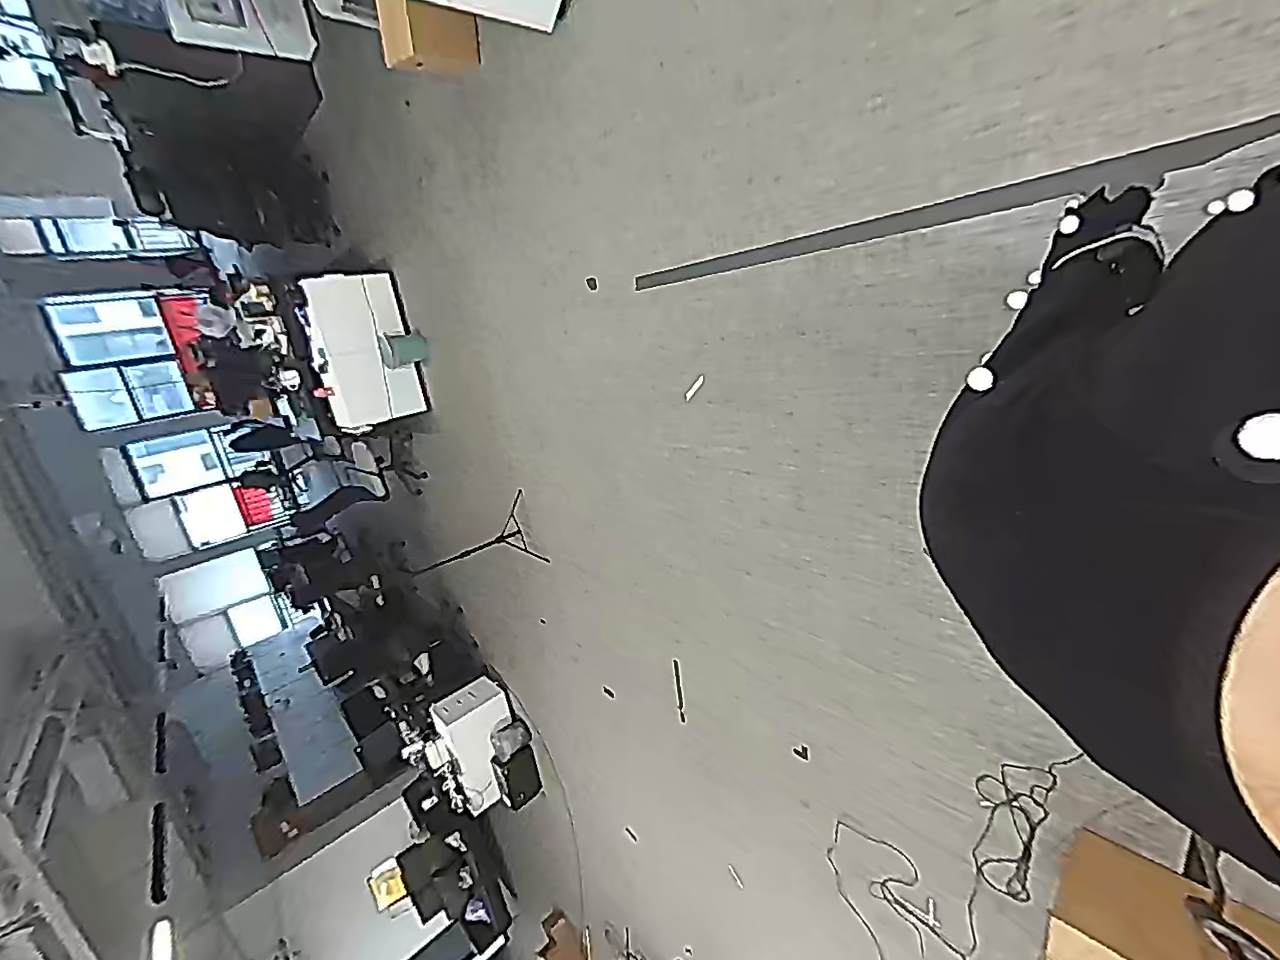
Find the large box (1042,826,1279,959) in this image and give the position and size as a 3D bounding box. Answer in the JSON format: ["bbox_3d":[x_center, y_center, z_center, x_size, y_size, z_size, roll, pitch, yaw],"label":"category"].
[{"bbox_3d":[1.263,1.165,1.309,0.408,0.320,0.320,12,117,48],"label":"large box"}]
